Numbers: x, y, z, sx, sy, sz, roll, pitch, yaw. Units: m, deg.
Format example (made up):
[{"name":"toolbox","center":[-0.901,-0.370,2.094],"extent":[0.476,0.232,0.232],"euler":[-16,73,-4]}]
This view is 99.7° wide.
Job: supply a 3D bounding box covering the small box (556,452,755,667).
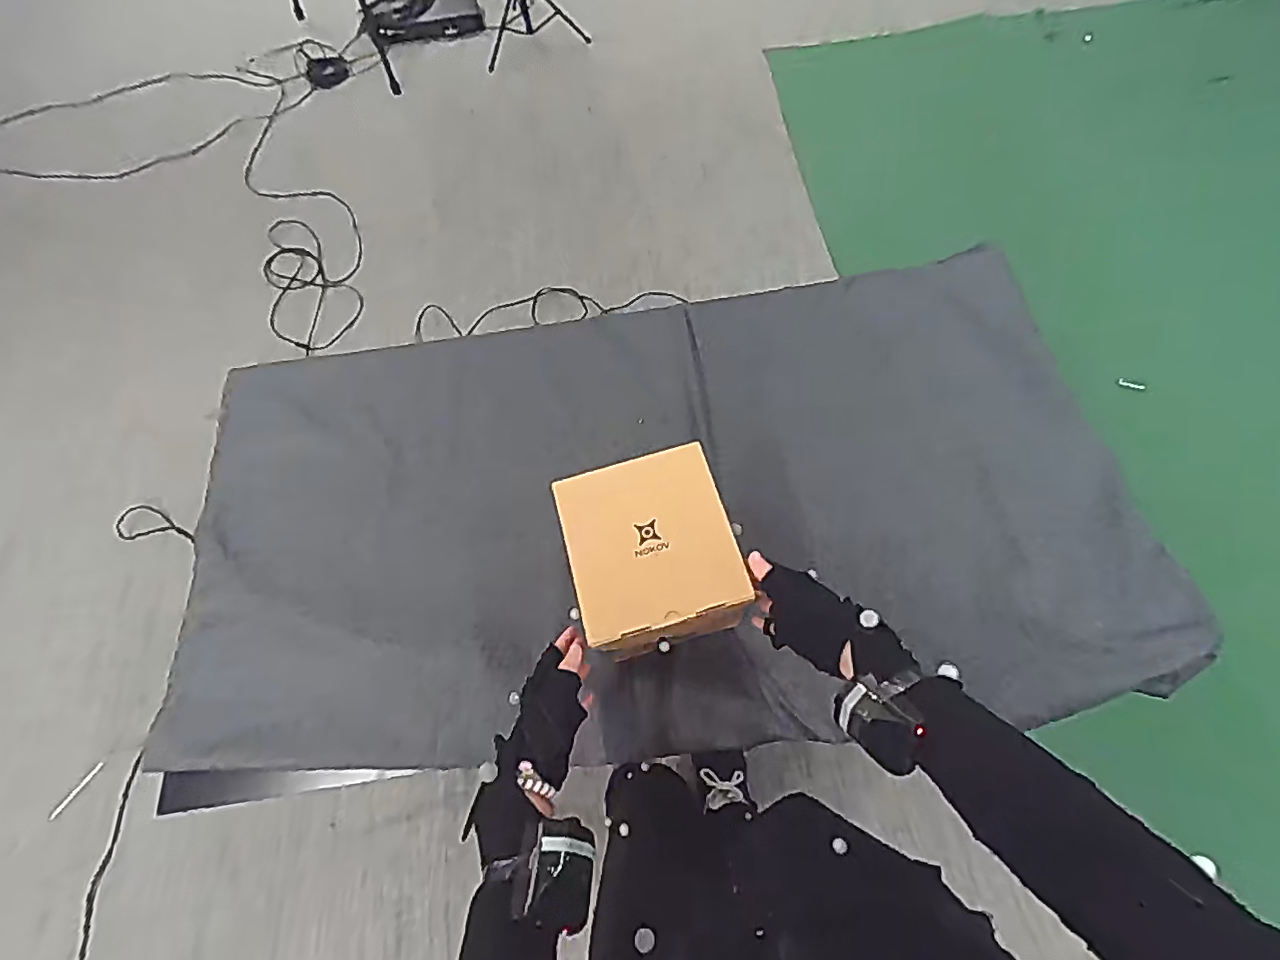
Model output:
[{"name":"small box","center":[0.013,0.097,0.612],"extent":[0.168,0.176,0.179],"euler":[-15,67,-4]}]
